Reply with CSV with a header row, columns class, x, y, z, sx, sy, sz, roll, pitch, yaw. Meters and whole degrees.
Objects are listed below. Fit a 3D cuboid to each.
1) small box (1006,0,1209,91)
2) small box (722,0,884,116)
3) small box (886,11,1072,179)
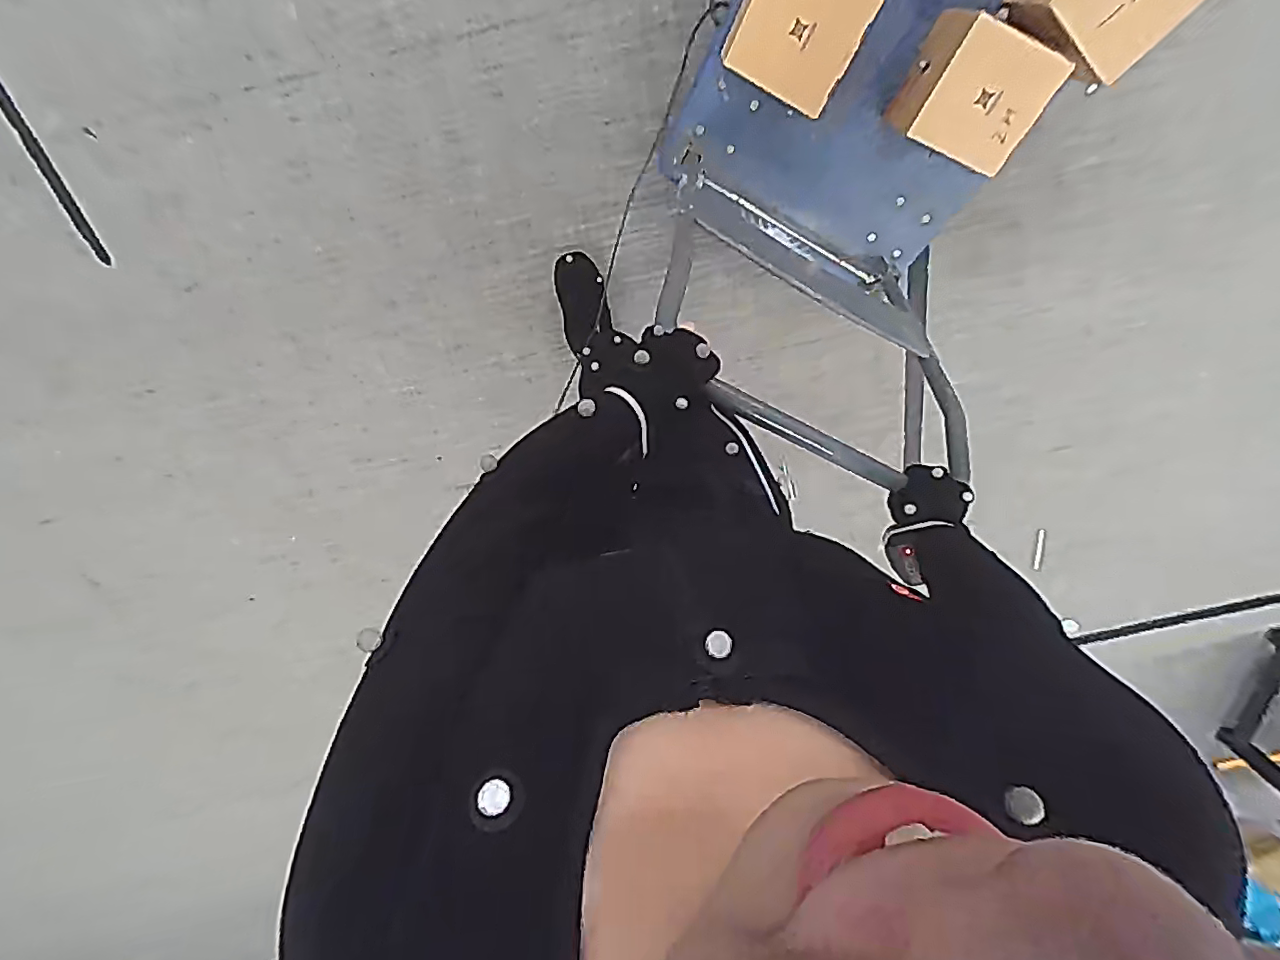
class,x,y,z,sx,sy,sz,roll,pitch,yaw
small box,0.695,-0.728,0.799,0.168,0.176,0.179,32,128,-20
small box,0.243,-0.719,0.860,0.179,0.176,0.168,21,131,-14
small box,0.543,-0.637,0.897,0.179,0.176,0.168,20,131,-10
